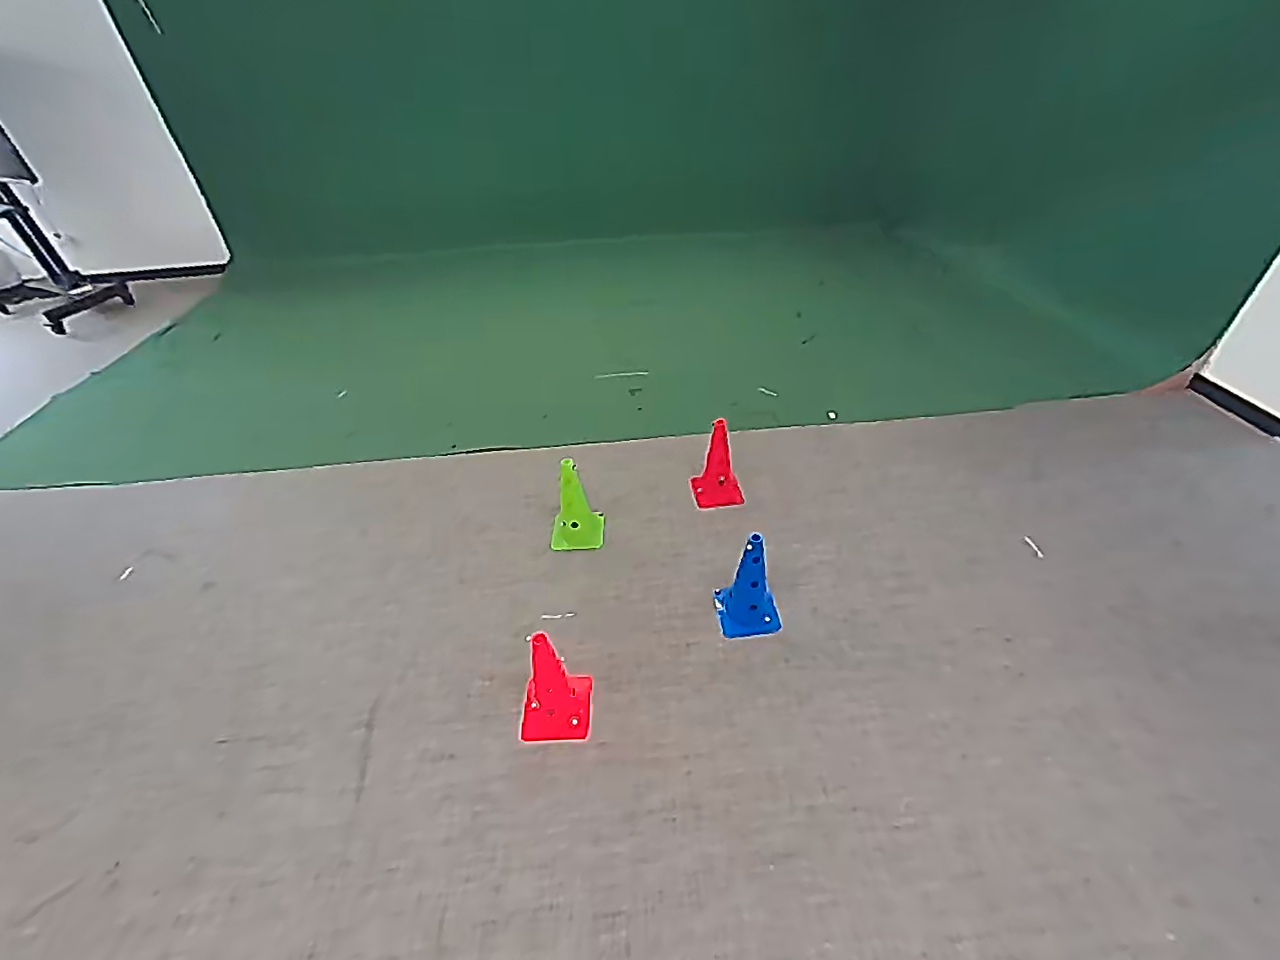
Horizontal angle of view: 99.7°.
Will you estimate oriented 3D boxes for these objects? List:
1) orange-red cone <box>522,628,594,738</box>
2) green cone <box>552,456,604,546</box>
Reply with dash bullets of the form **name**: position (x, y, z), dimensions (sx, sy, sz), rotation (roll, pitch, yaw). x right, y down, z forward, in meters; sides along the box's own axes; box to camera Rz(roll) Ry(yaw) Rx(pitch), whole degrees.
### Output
- **orange-red cone**: position (-0.246, 0.529, 1.493), dimensions (0.198, 0.360, 0.199), rotation (-1, 38, 2)
- **green cone**: position (-0.255, 0.058, 2.053), dimensions (0.200, 0.368, 0.202), rotation (-4, 41, 1)
